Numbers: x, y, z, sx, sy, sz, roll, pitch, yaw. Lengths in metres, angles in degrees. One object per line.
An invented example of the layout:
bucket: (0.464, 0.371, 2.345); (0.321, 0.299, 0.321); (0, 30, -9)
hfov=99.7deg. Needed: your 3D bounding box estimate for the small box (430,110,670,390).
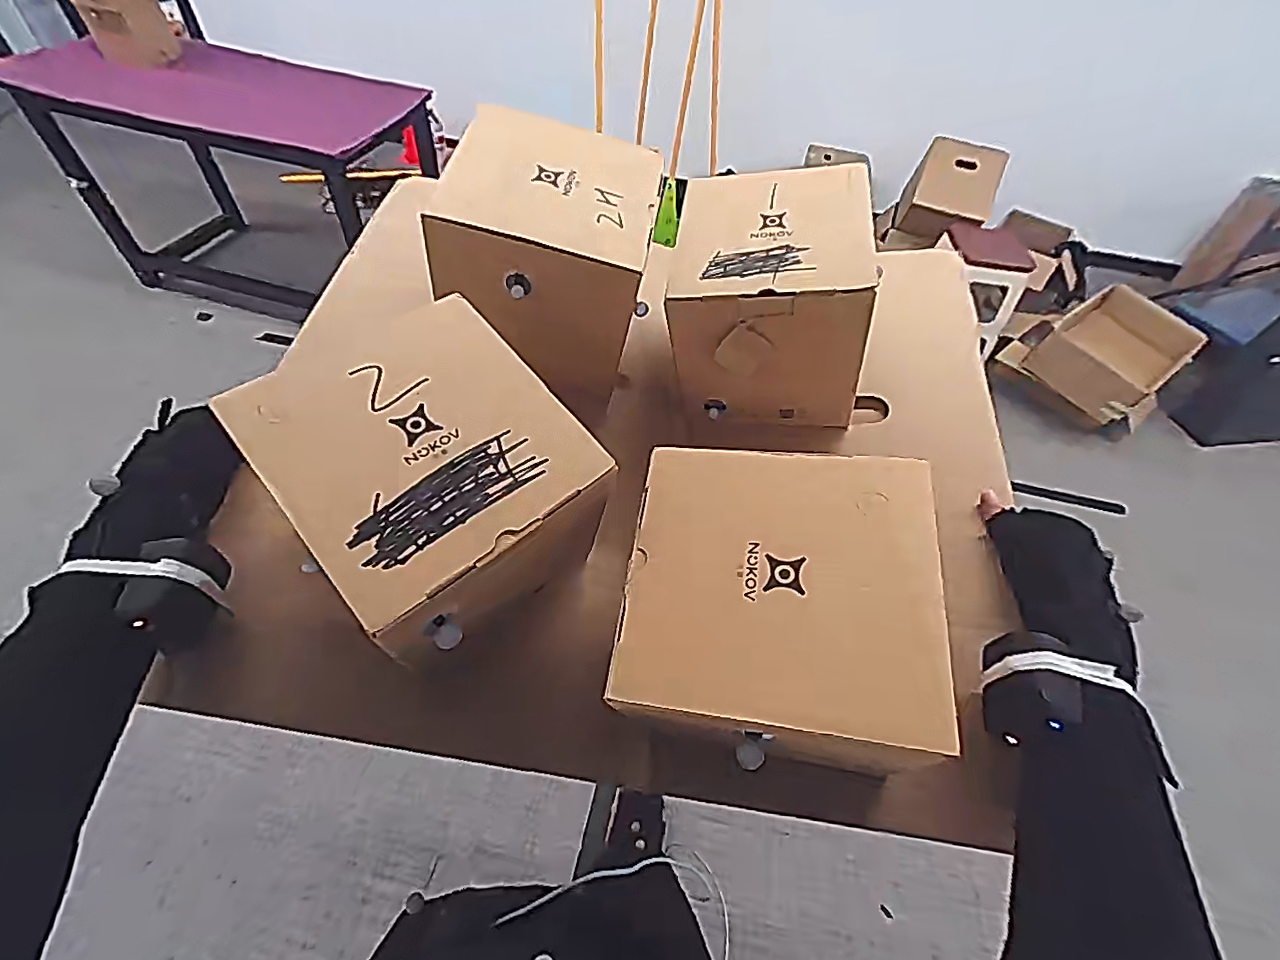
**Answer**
small box: (-0.084, -0.213, 0.533); (0.179, 0.176, 0.168); (14, 61, -6)
